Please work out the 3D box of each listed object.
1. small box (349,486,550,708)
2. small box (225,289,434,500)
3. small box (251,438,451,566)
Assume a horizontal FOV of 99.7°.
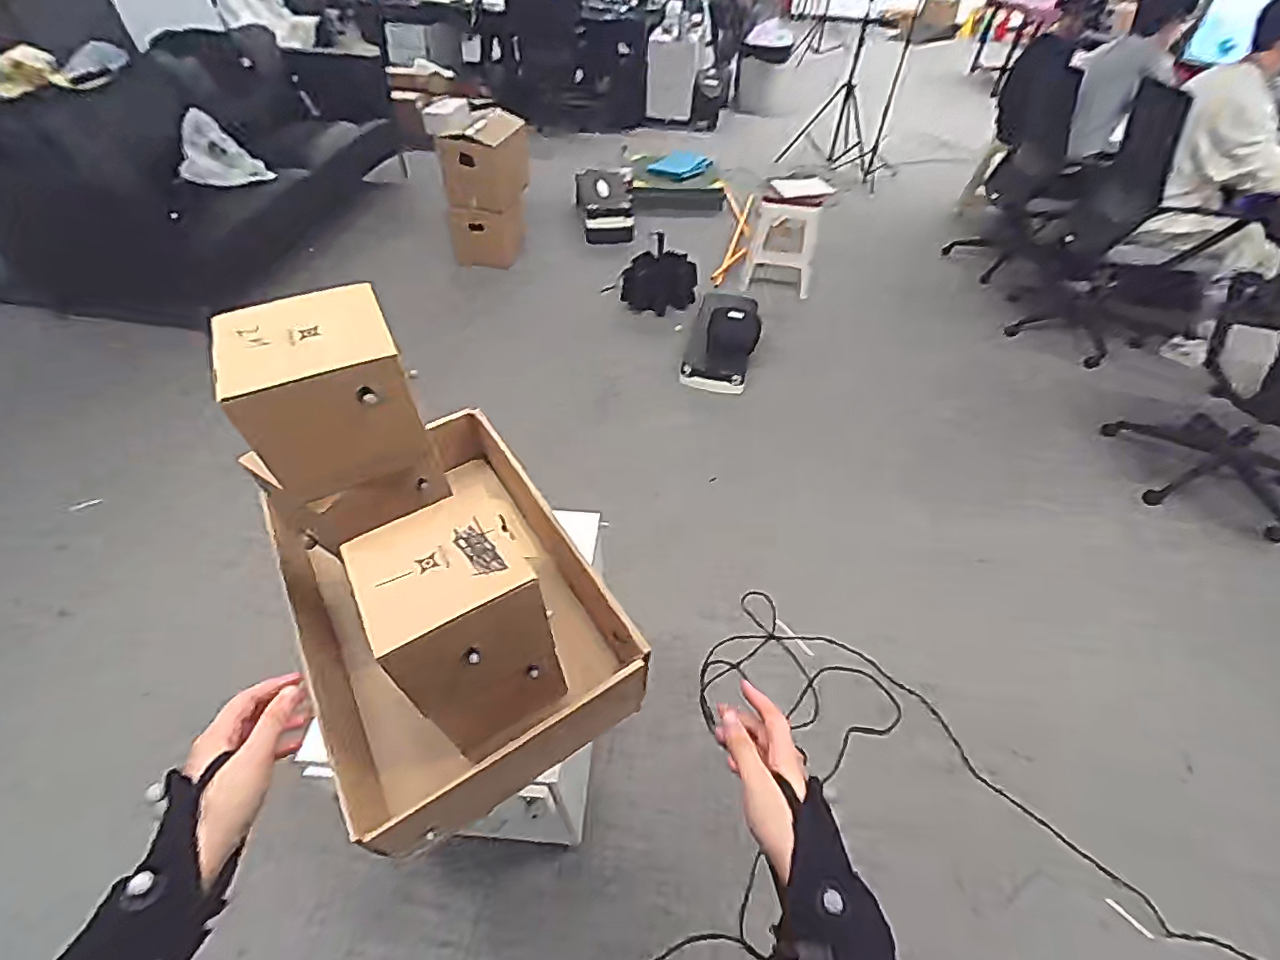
[{"bbox_3d":[-0.223,0.144,0.670,0.179,0.176,0.168,-26,51,-20],"label":"small box"},{"bbox_3d":[-0.373,-0.106,0.675,0.179,0.176,0.168,-22,53,-18],"label":"small box"},{"bbox_3d":[-0.403,0.007,0.795,0.168,0.176,0.179,25,55,20],"label":"small box"}]
